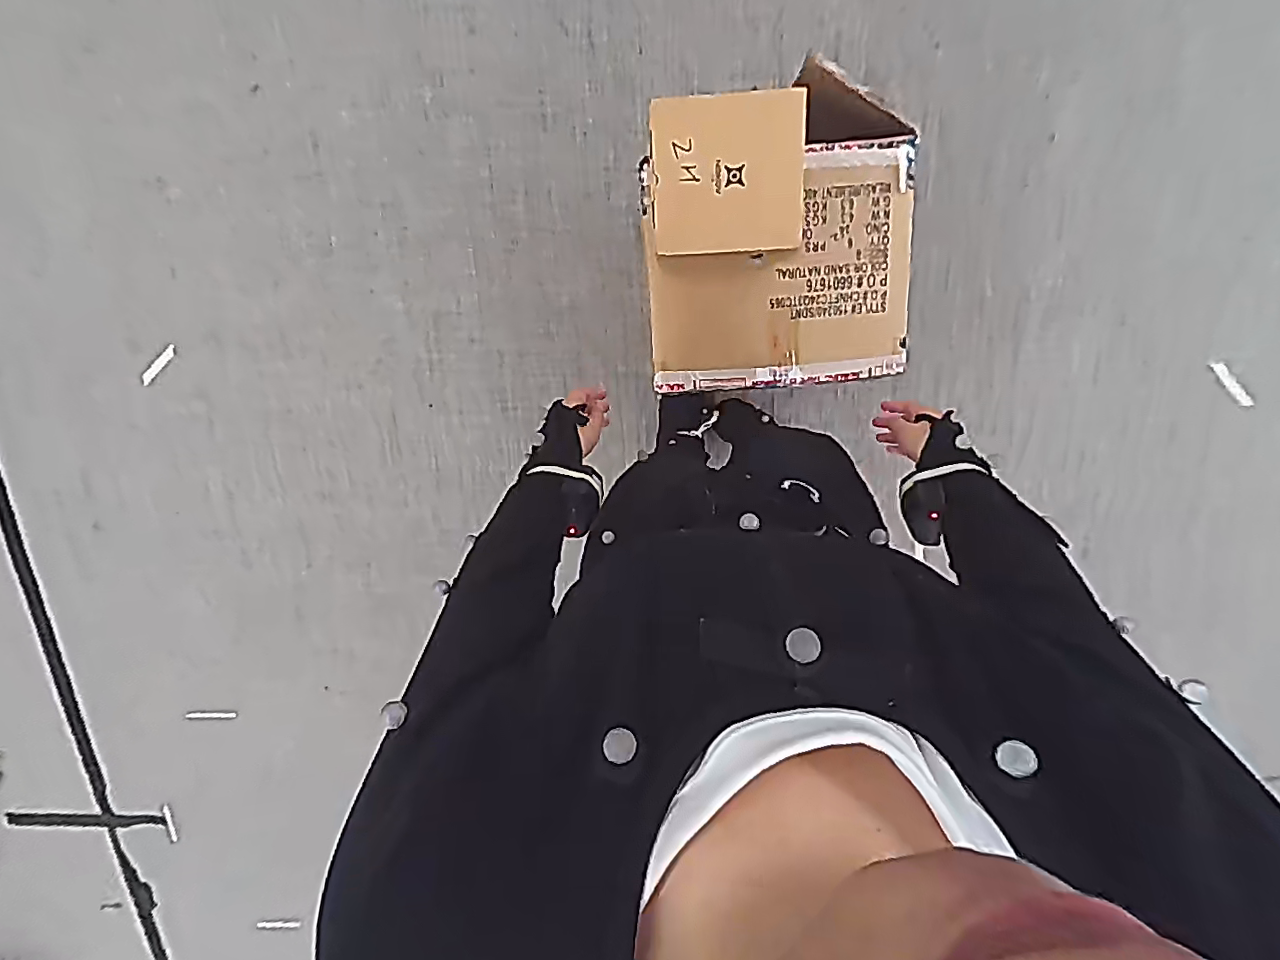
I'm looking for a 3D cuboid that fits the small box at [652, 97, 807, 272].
[{"bbox_3d":[0.107,-0.368,0.703,0.179,0.176,0.168,-1,105,5],"label":"small box"}]
